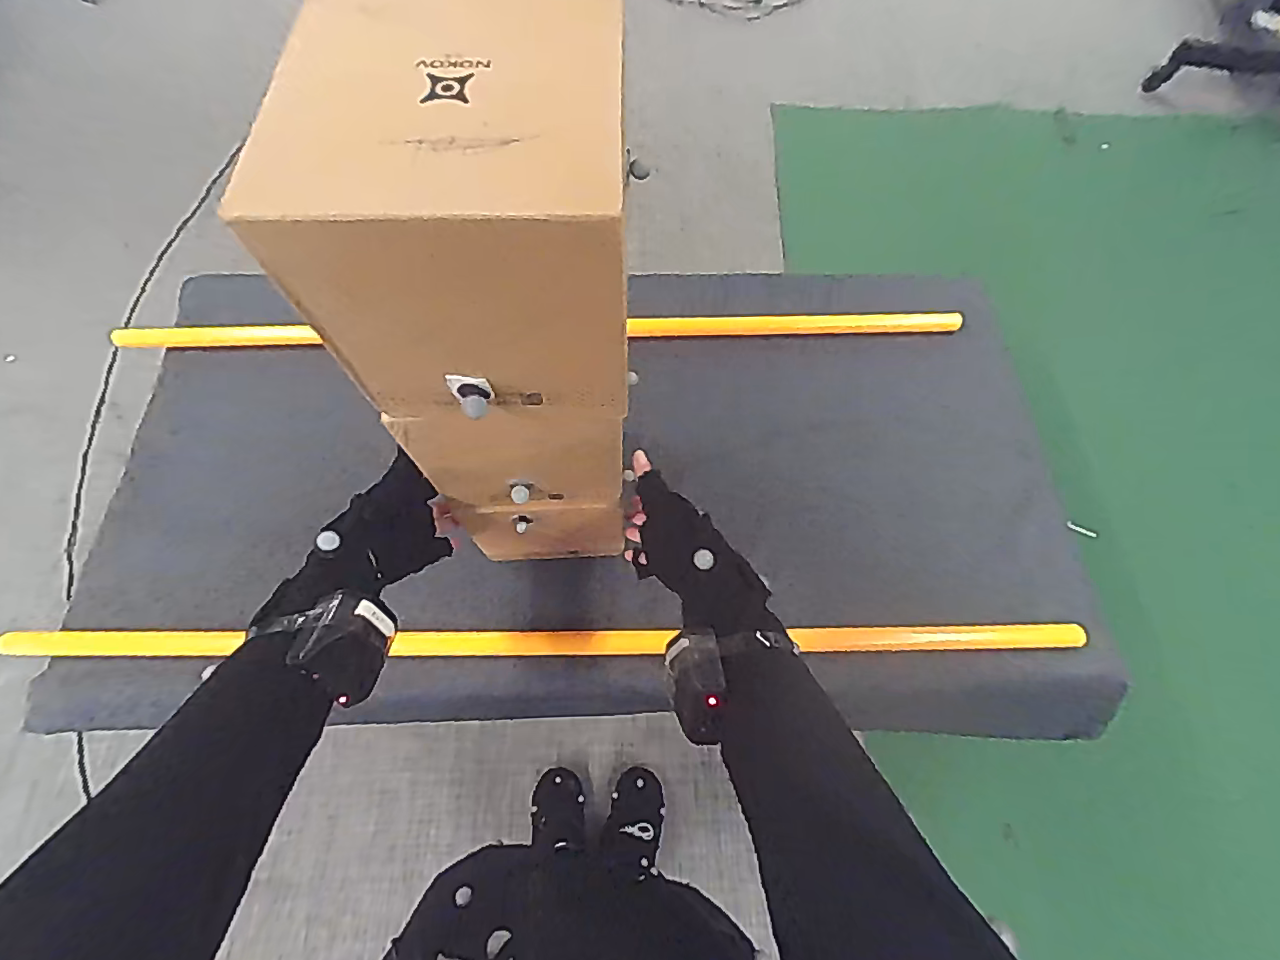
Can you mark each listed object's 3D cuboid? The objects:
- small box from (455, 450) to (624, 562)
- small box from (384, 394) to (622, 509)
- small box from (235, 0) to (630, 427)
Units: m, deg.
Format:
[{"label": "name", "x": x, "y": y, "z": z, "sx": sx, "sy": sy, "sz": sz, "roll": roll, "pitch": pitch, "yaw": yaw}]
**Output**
[{"label": "small box", "x": -0.104, "y": -0.013, "z": 0.632, "sx": 0.168, "sy": 0.176, "sz": 0.179, "roll": -3, "pitch": 67, "yaw": -2}, {"label": "small box", "x": -0.100, "y": -0.085, "z": 0.483, "sx": 0.168, "sy": 0.176, "sz": 0.179, "roll": -1, "pitch": 66, "yaw": -2}, {"label": "small box", "x": -0.091, "y": -0.149, "z": 0.334, "sx": 0.168, "sy": 0.176, "sz": 0.179, "roll": -2, "pitch": 67, "yaw": 0}]
